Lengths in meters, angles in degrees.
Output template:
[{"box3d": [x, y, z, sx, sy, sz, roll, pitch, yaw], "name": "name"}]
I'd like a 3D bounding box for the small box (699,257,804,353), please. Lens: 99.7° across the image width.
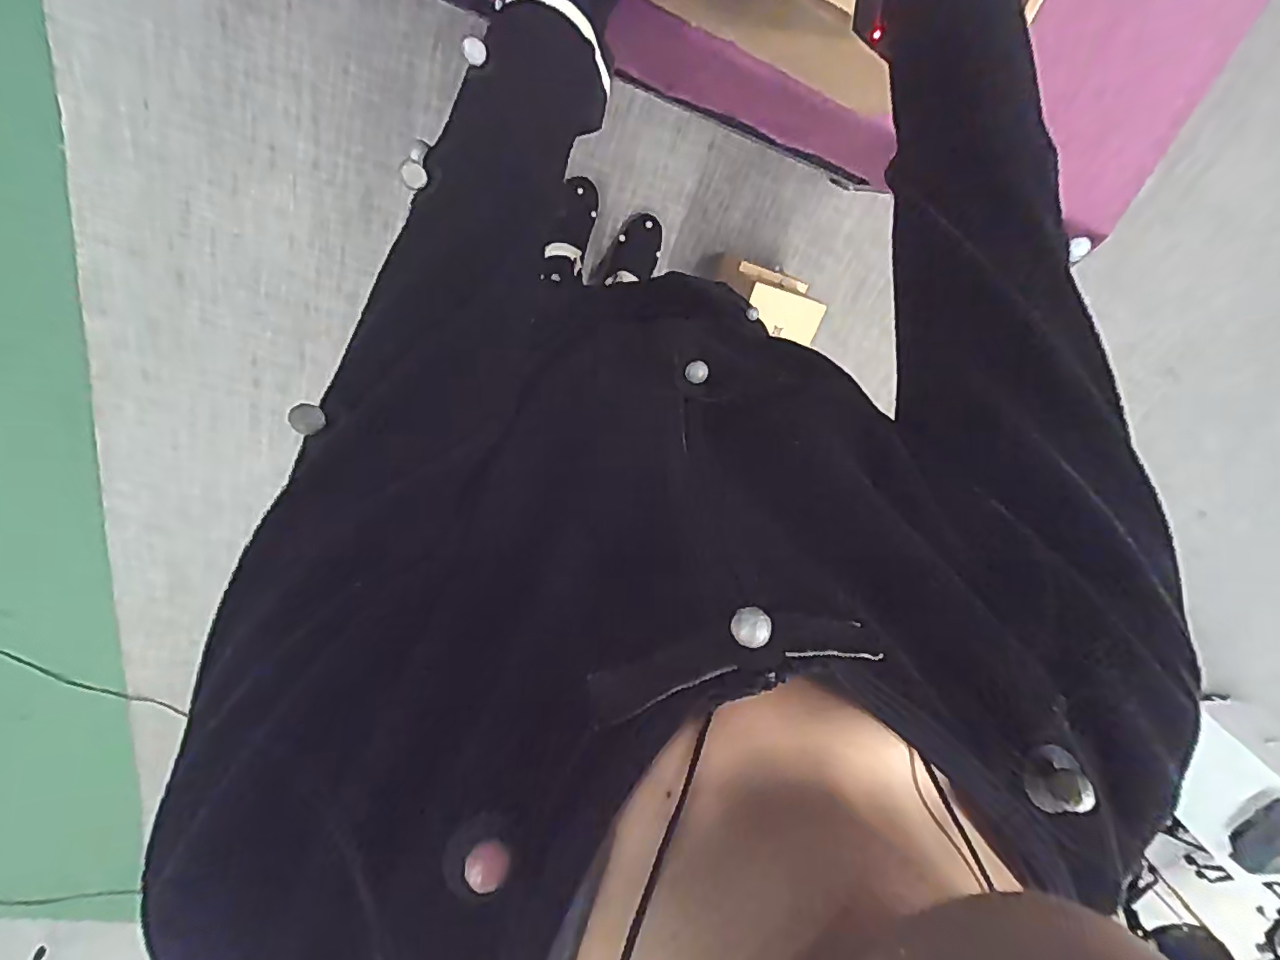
[{"box3d": [0.265, -0.437, 1.333, 0.179, 0.176, 0.168, 14, 117, -14], "name": "small box"}]
